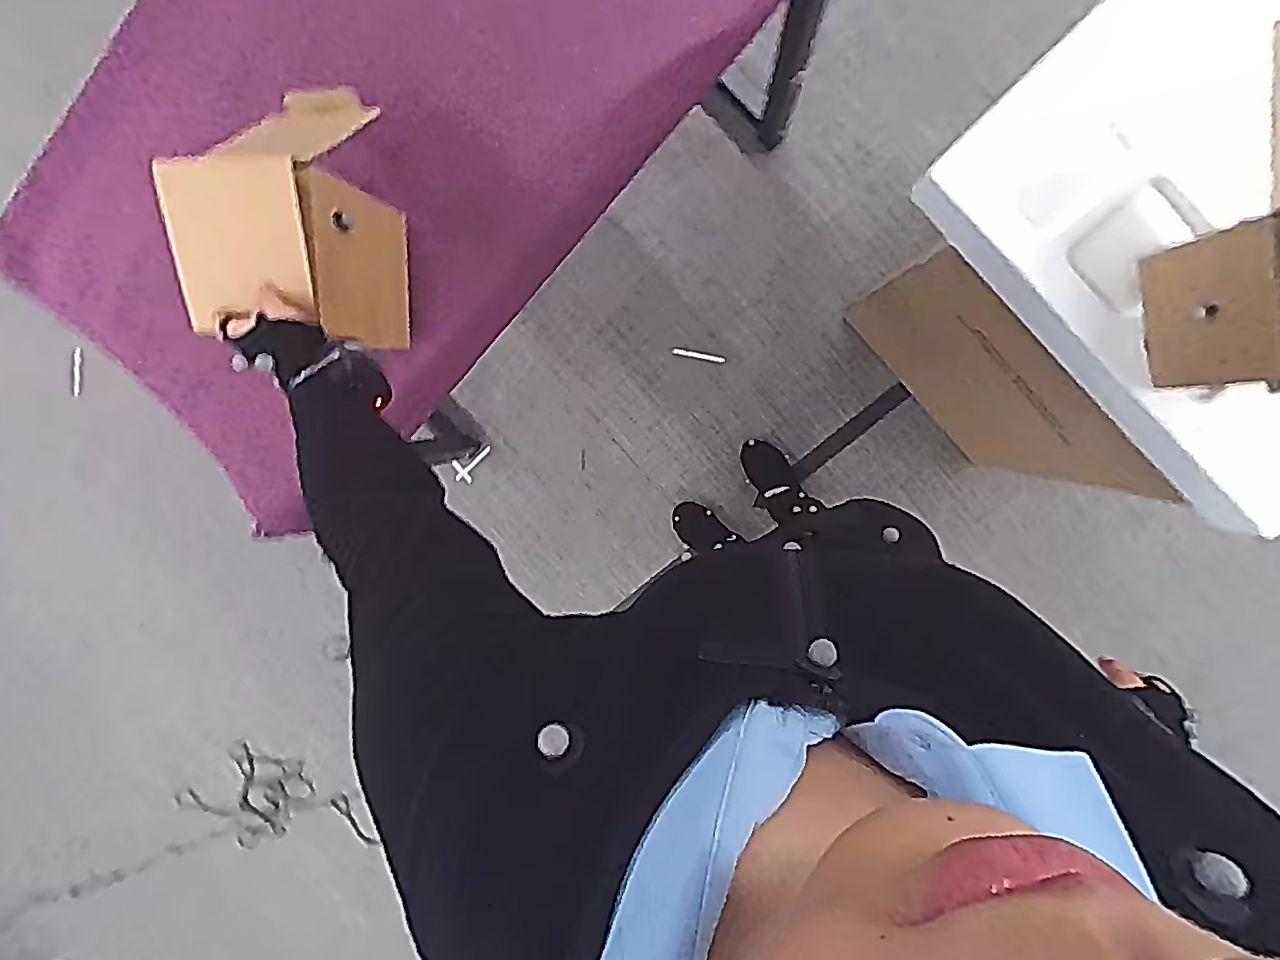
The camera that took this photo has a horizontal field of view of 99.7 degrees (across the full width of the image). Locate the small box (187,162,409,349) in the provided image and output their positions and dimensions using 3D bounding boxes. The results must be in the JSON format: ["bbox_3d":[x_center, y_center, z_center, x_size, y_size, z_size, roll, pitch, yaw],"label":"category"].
[{"bbox_3d":[-0.408,-0.264,0.671,0.168,0.176,0.179,3,98,11],"label":"small box"}]
